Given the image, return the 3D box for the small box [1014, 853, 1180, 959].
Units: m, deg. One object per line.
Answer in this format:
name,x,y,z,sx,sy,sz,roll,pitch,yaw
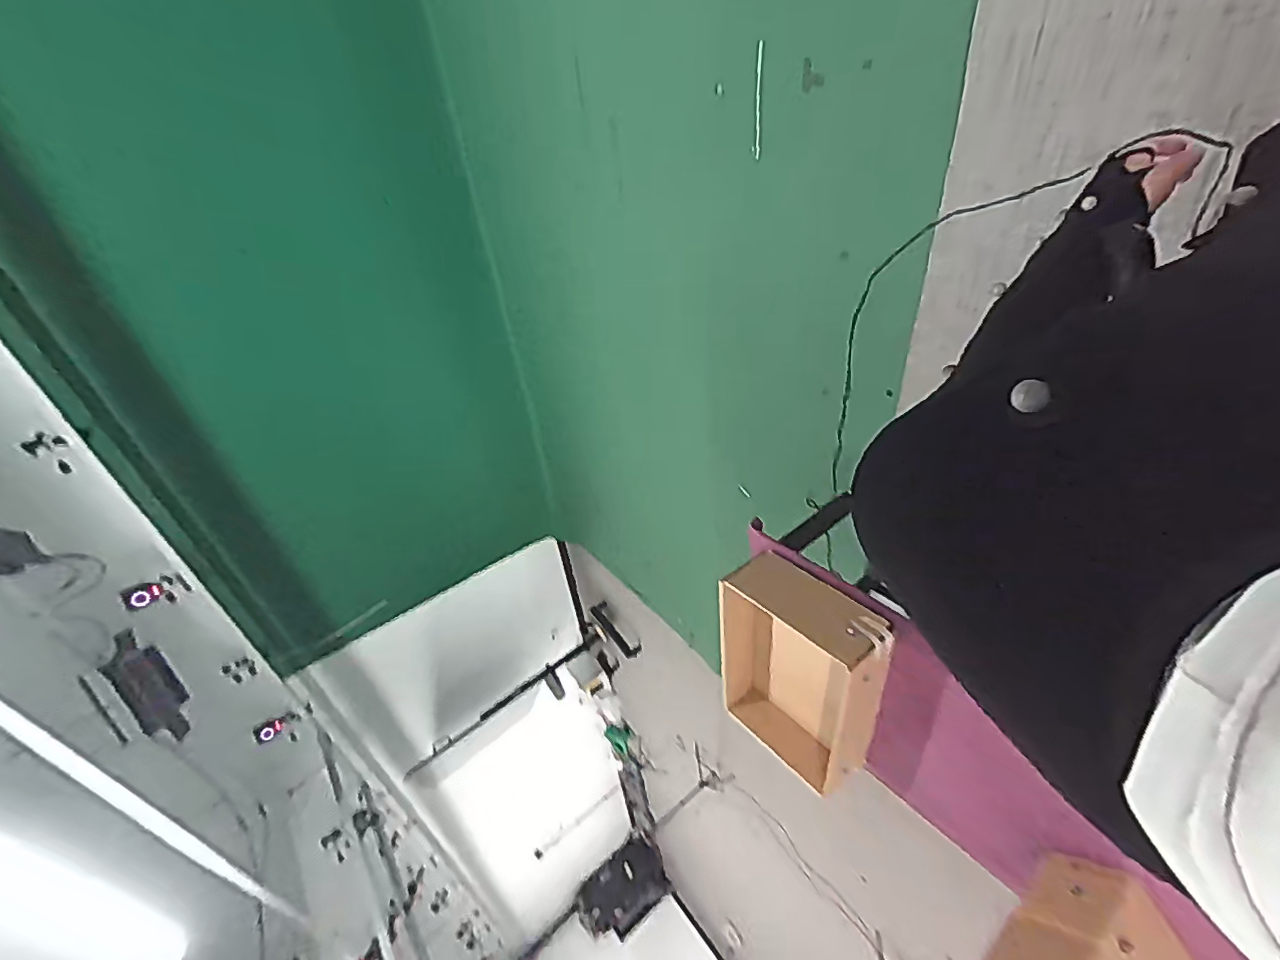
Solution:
small box,0.911,0.898,1.082,0.179,0.176,0.168,58,153,7
